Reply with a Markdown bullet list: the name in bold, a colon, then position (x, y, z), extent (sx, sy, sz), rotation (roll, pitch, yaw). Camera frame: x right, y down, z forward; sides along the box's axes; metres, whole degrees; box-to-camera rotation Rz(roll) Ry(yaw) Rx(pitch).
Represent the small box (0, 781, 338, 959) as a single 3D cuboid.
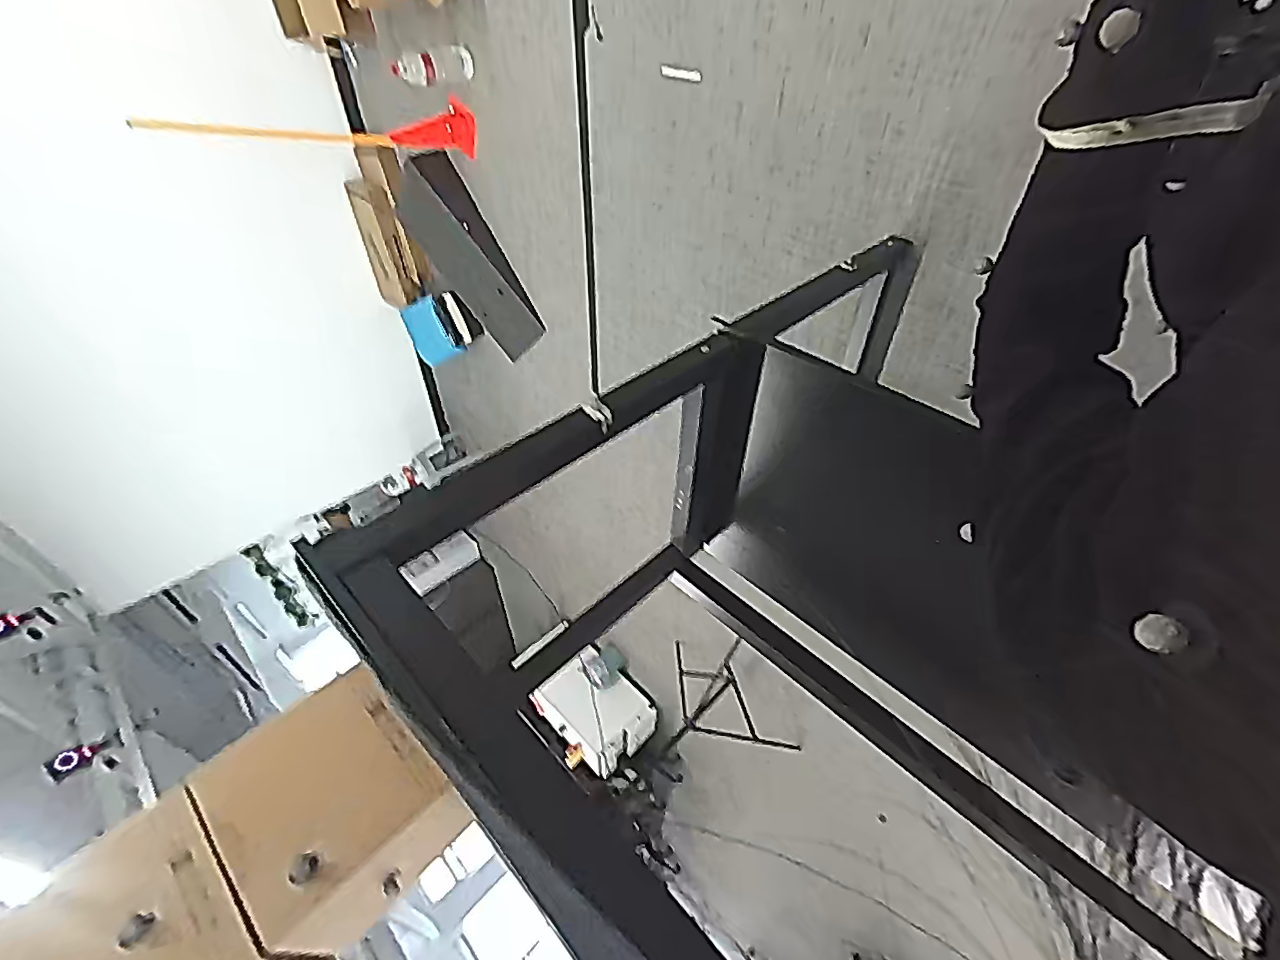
- **small box**: position (-0.395, 0.399, 0.460), extent (0.168, 0.176, 0.179), rotation (37, 145, 26)
